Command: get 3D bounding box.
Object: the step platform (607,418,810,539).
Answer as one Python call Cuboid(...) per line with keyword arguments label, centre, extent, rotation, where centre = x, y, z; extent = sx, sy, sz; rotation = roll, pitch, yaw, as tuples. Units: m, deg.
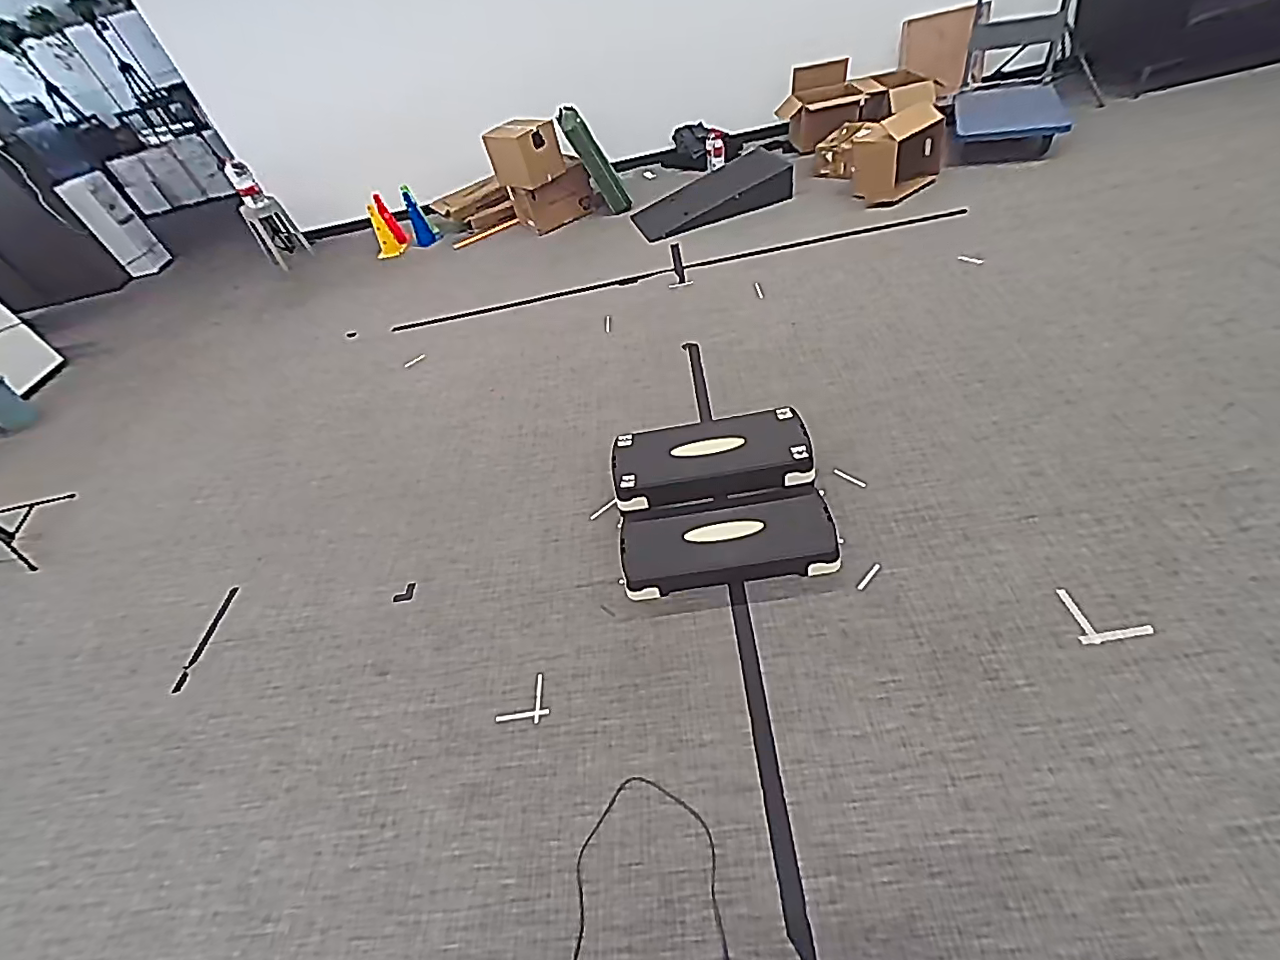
Cuboid(label="step platform", centre=(0.226, -0.009, 1.875), extent=(0.684, 0.204, 0.286), rotation=(-10, 46, 4))
